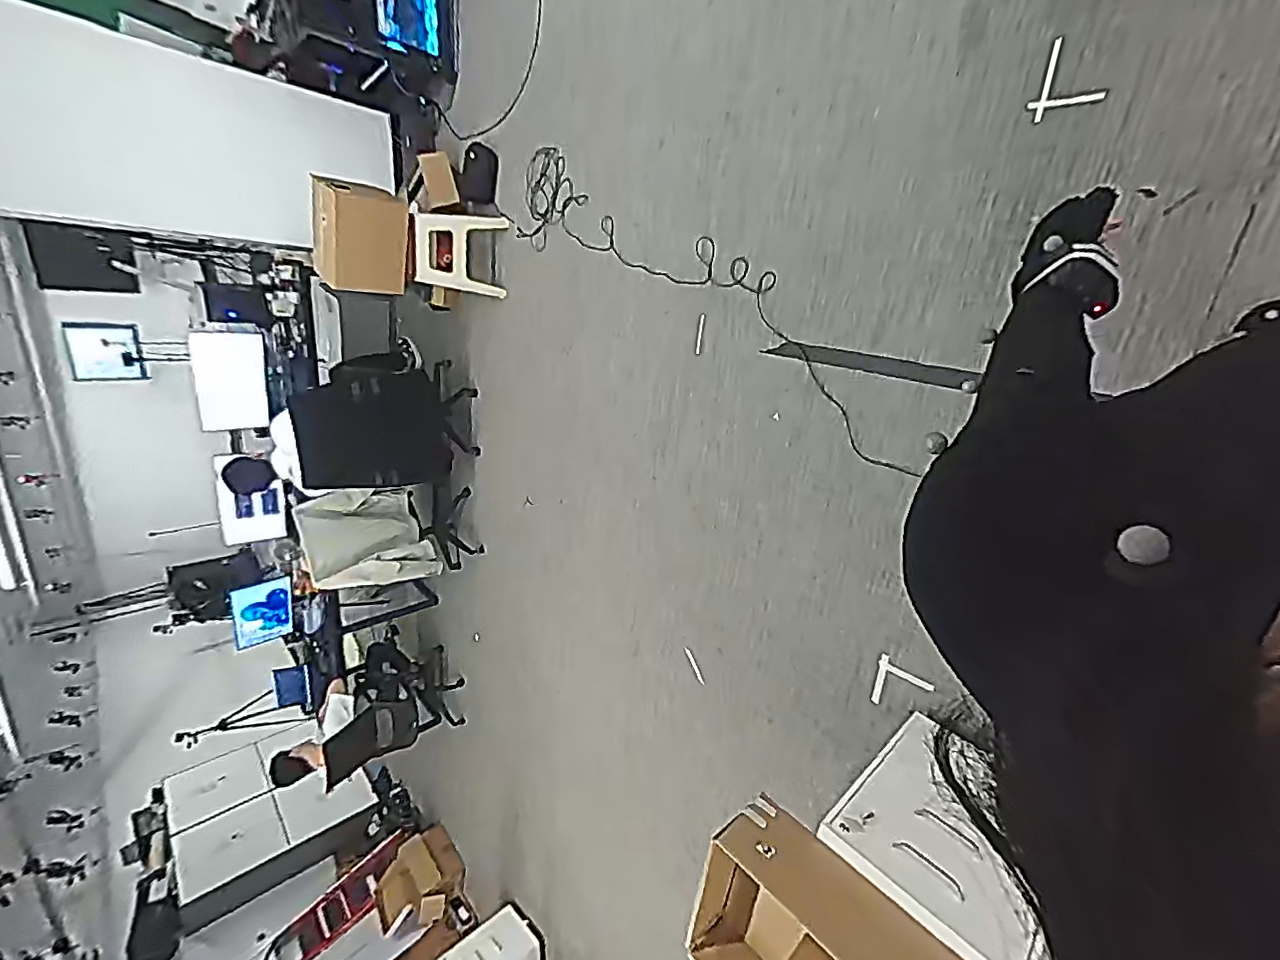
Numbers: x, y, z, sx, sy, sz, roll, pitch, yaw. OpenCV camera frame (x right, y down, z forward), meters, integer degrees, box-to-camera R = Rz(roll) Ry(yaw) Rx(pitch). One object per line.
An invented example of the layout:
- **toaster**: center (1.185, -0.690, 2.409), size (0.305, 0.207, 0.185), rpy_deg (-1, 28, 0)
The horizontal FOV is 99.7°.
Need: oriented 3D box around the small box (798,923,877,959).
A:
- **small box**: center (0.388, 1.033, 1.045), size (0.168, 0.176, 0.179), rpy_deg (16, 108, 44)
